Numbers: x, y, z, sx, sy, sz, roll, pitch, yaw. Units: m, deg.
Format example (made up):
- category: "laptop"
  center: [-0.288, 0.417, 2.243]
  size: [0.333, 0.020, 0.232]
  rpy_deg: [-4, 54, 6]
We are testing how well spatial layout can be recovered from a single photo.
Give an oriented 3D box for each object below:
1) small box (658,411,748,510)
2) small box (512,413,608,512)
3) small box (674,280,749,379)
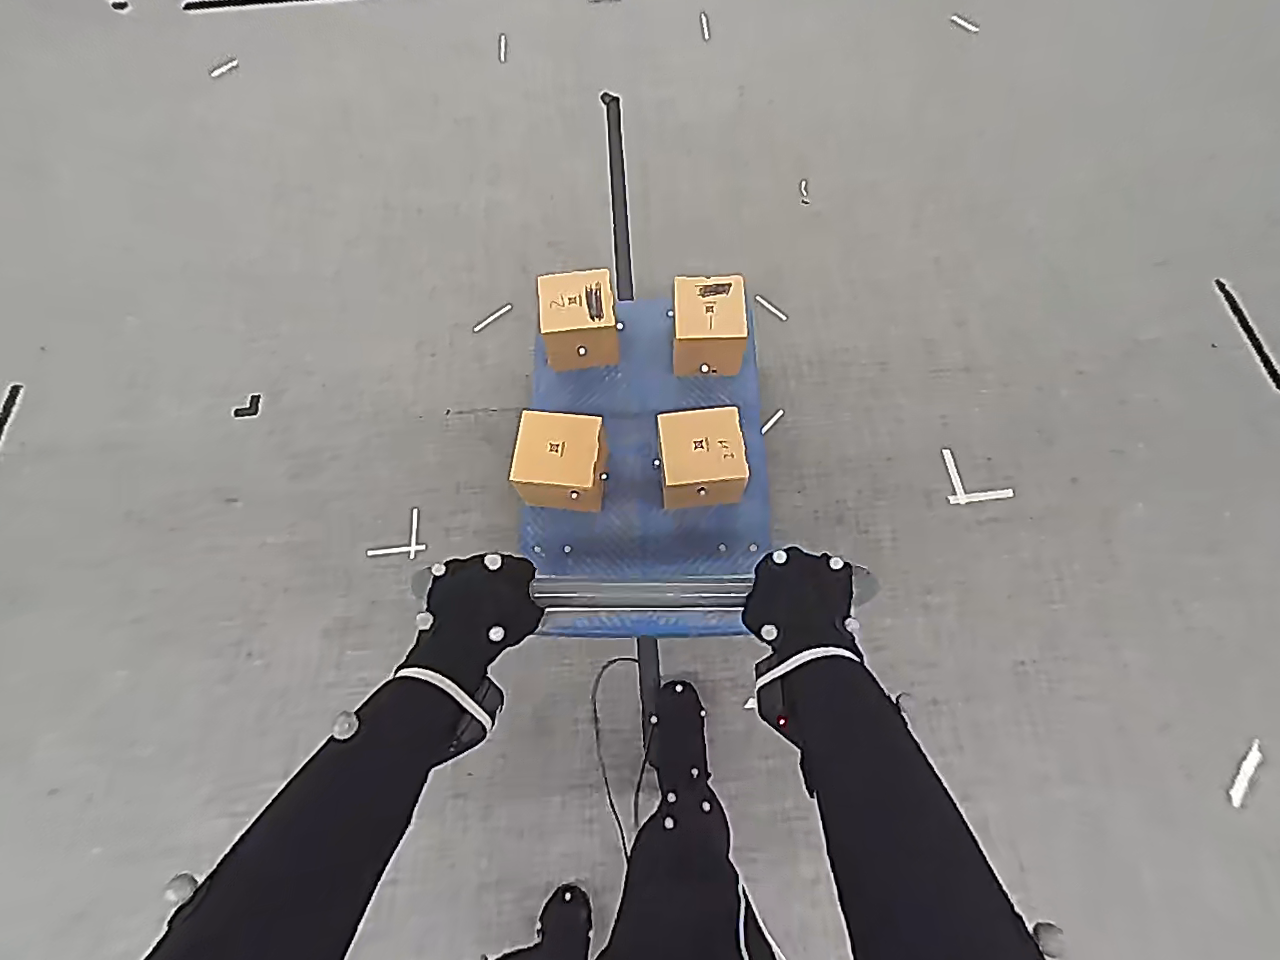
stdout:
- category: "small box"
  center: [0.134, -0.038, 1.214]
  size: [0.179, 0.176, 0.168]
  rpy_deg: [-5, 70, 0]
- category: "small box"
  center: [-0.172, -0.034, 1.221]
  size: [0.179, 0.176, 0.168]
  rpy_deg: [6, 69, 2]
- category: "small box"
  center: [0.169, -0.367, 1.334]
  size: [0.168, 0.176, 0.179]
  rpy_deg: [0, 71, 1]
